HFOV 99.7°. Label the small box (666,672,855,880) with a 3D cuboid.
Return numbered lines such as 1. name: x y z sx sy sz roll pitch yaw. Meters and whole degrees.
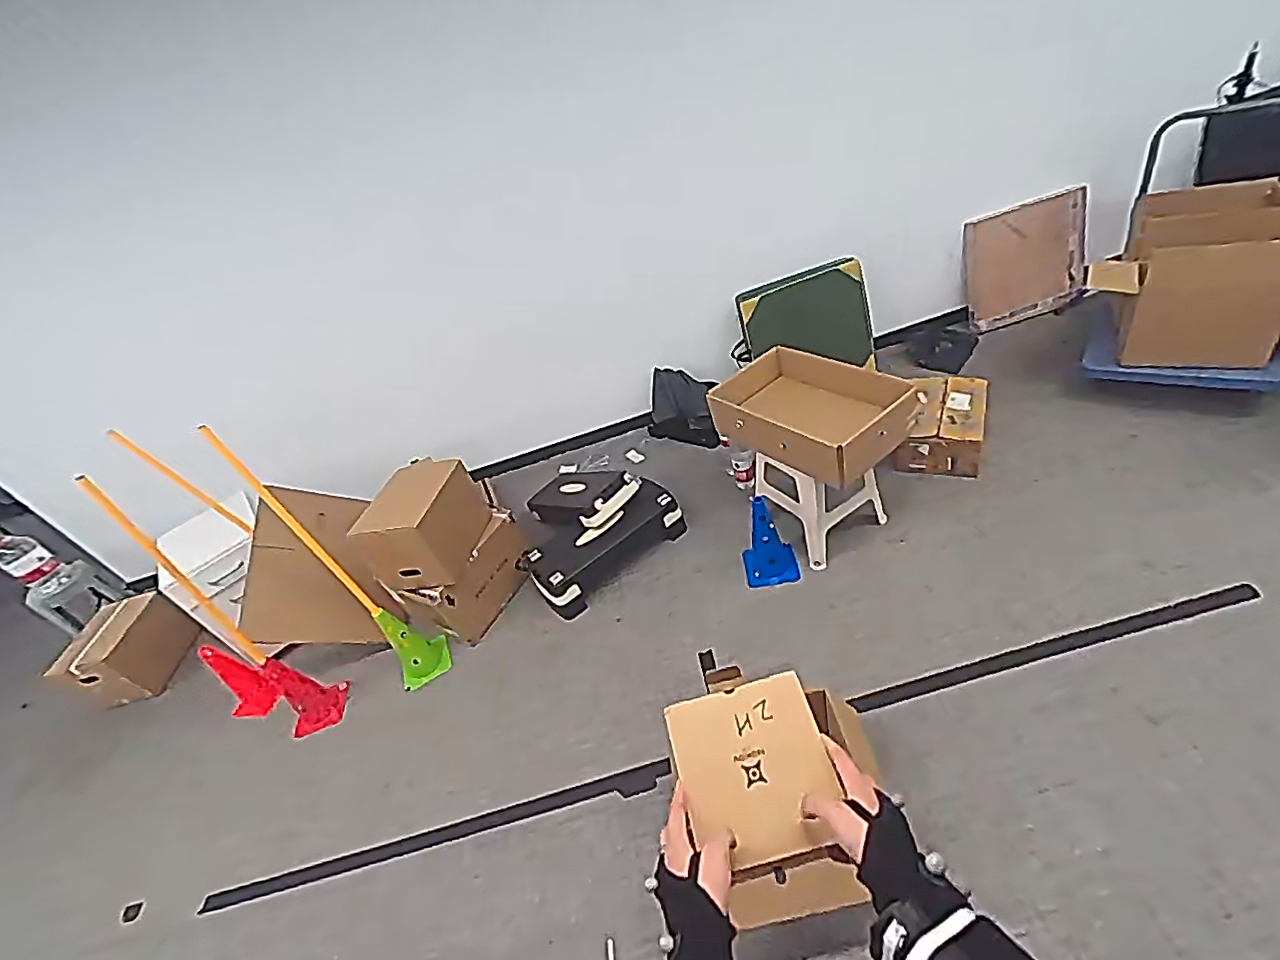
1. small box: 0.142 0.365 0.659 0.168 0.176 0.179 -17 49 1
